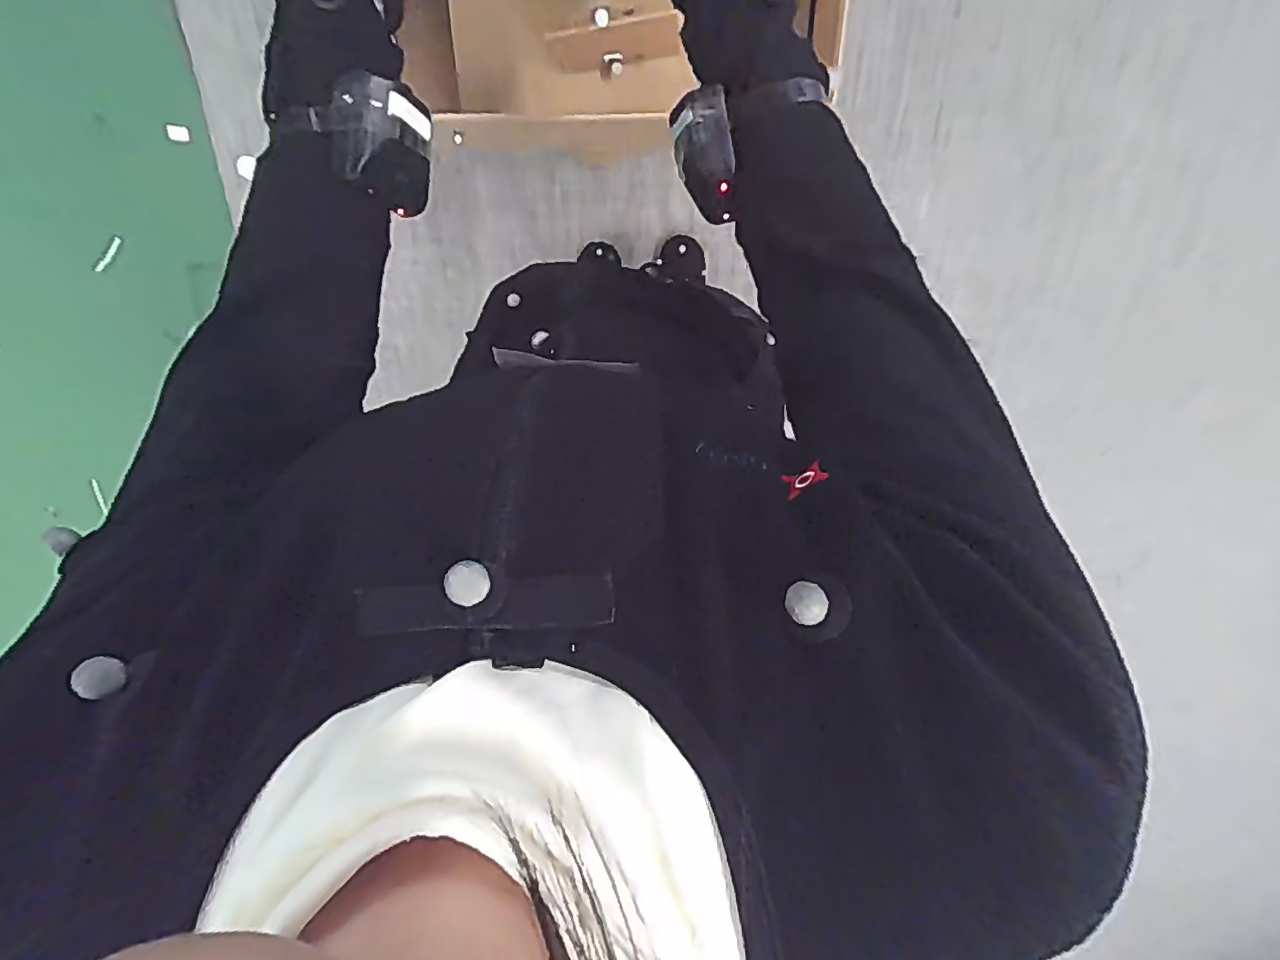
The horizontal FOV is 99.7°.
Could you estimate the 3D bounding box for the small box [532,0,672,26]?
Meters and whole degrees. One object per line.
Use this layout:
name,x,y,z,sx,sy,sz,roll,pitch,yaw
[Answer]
small box,-0.053,-0.587,0.523,0.168,0.176,0.179,-3,114,8

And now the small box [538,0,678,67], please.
small box,-0.041,-0.653,0.673,0.168,0.176,0.179,-4,115,8
